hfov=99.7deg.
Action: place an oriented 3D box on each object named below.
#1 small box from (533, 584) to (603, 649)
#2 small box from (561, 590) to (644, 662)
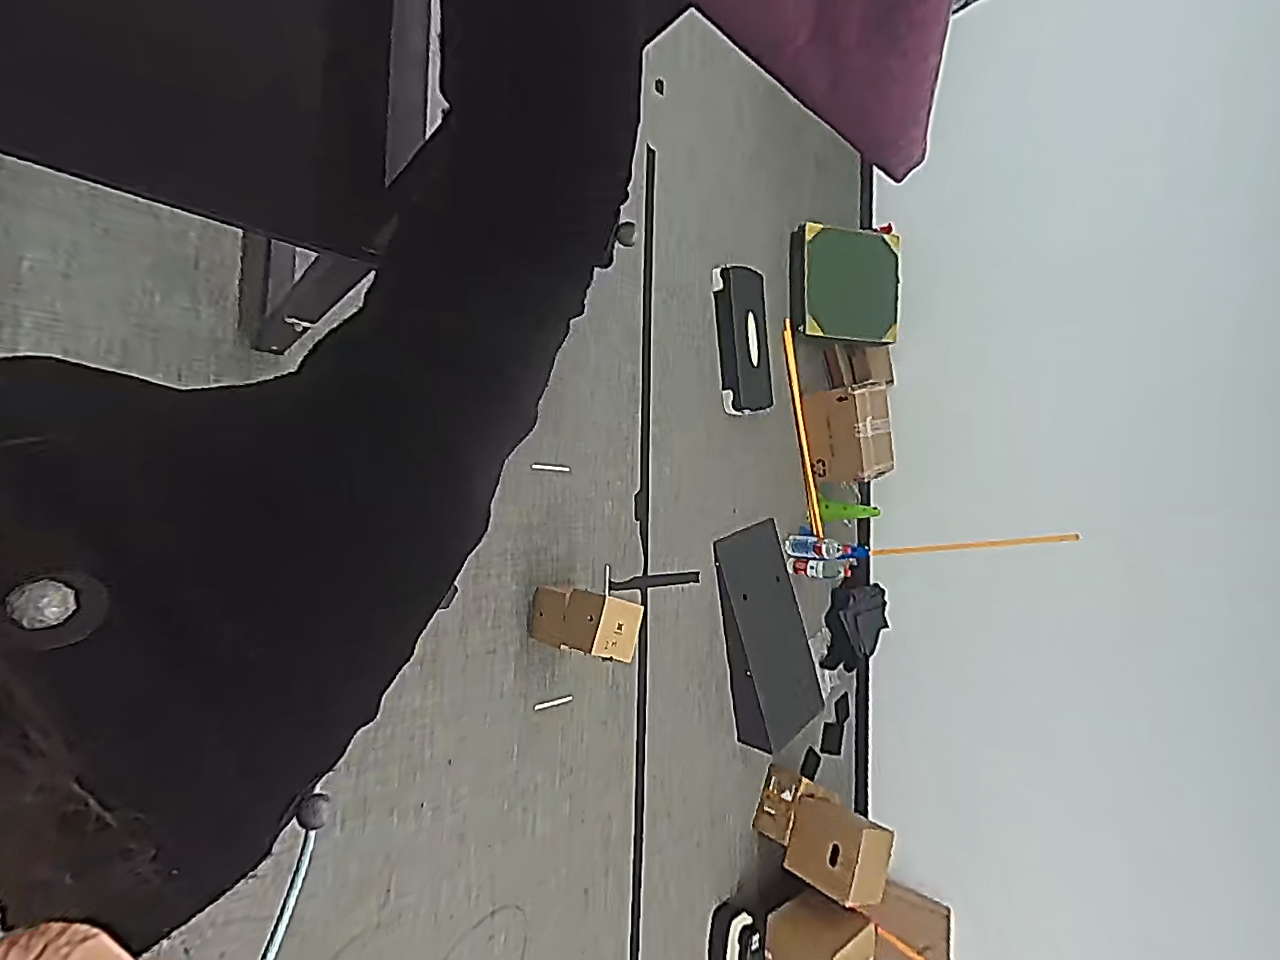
[{"bbox_3d":[-0.236,0.447,1.780,0.168,0.176,0.179,11,83,-44],"label":"small box"},{"bbox_3d":[-0.119,0.444,1.663,0.168,0.176,0.179,27,70,-40],"label":"small box"}]
